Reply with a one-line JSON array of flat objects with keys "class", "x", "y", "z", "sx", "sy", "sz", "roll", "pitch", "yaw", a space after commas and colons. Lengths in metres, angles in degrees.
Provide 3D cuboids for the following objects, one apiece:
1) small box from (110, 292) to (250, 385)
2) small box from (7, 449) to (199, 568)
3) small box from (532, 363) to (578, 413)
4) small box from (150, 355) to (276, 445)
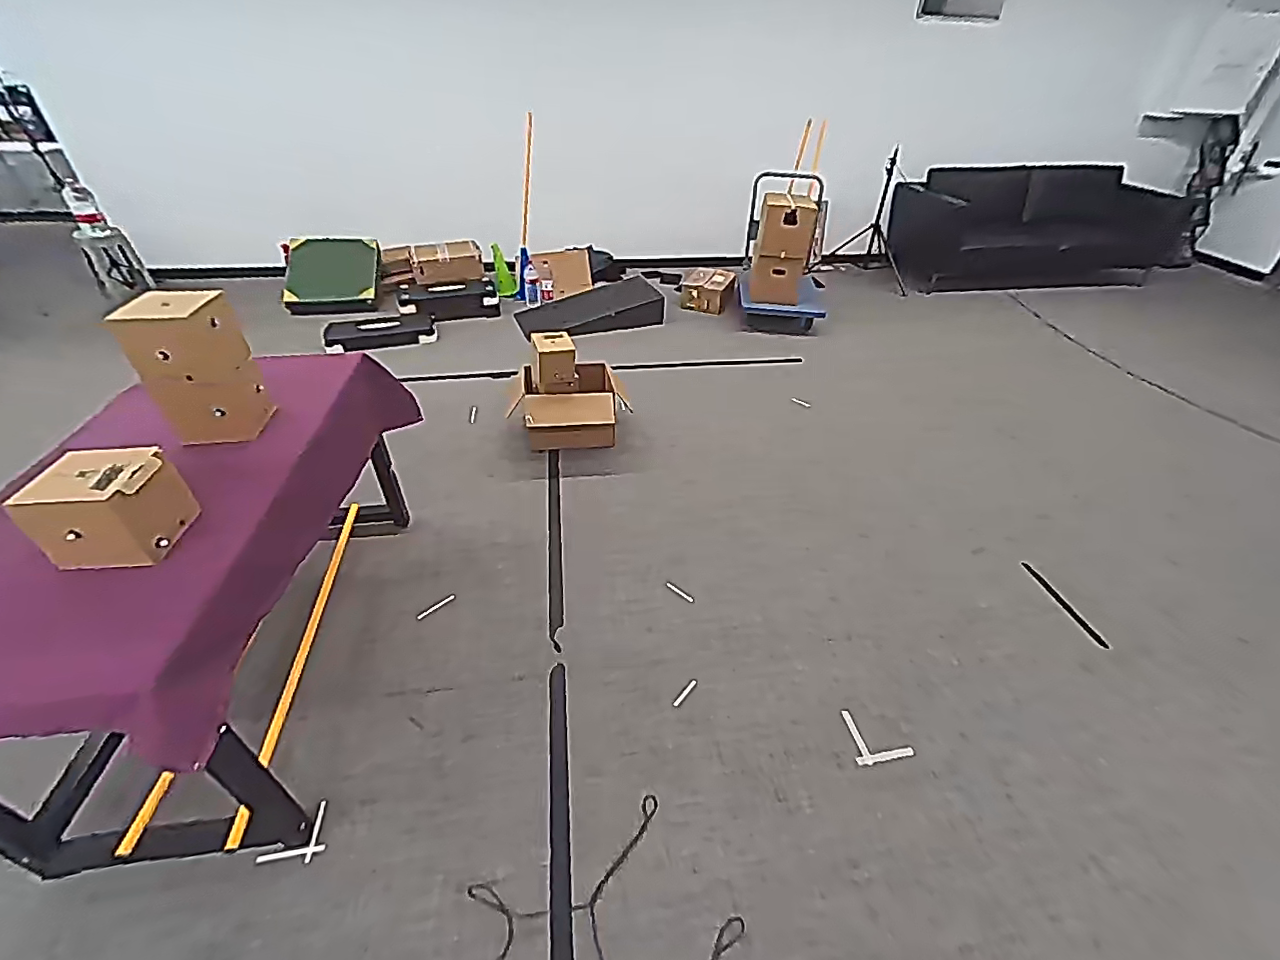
[{"class": "small box", "x": -1.076, "y": -0.334, "z": 1.288, "sx": 0.168, "sy": 0.176, "sz": 0.179, "roll": -3, "pitch": 38, "yaw": -7}, {"class": "small box", "x": -1.026, "y": 0.056, "z": 1.059, "sx": 0.179, "sy": 0.176, "sz": 0.168, "roll": -3, "pitch": 38, "yaw": -4}, {"class": "small box", "x": -0.405, "y": -0.439, "z": 2.588, "sx": 0.179, "sy": 0.176, "sz": 0.168, "roll": -16, "pitch": 45, "yaw": -26}, {"class": "small box", "x": -1.079, "y": -0.205, "z": 1.389, "sx": 0.179, "sy": 0.176, "sz": 0.168, "roll": -4, "pitch": 38, "yaw": -7}]
